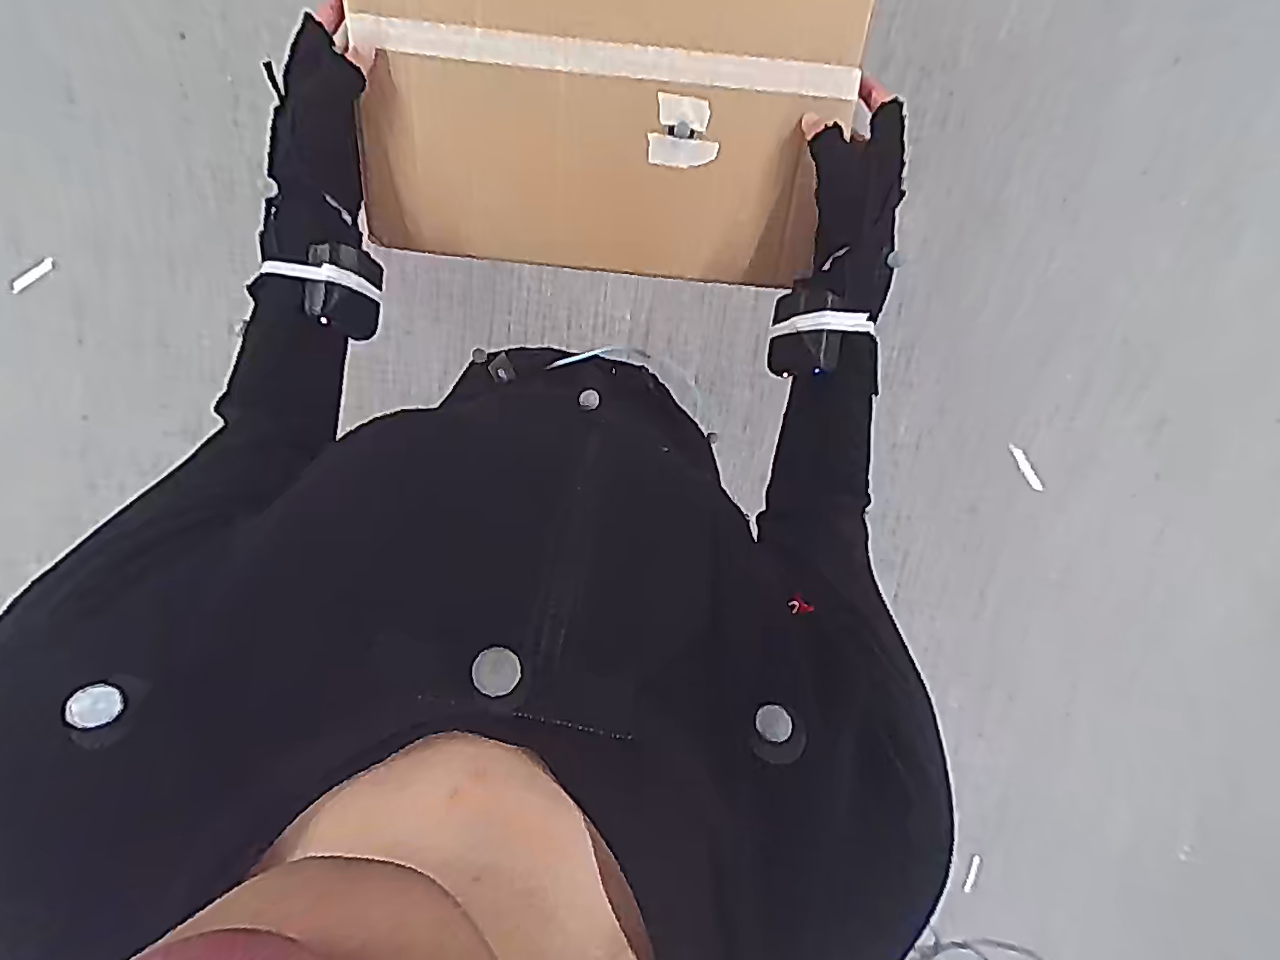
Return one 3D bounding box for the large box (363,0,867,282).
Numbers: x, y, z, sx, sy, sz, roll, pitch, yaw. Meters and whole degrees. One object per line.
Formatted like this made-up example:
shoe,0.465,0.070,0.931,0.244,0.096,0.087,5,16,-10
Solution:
large box,-0.025,-0.398,0.577,0.408,0.320,0.320,5,114,-2
